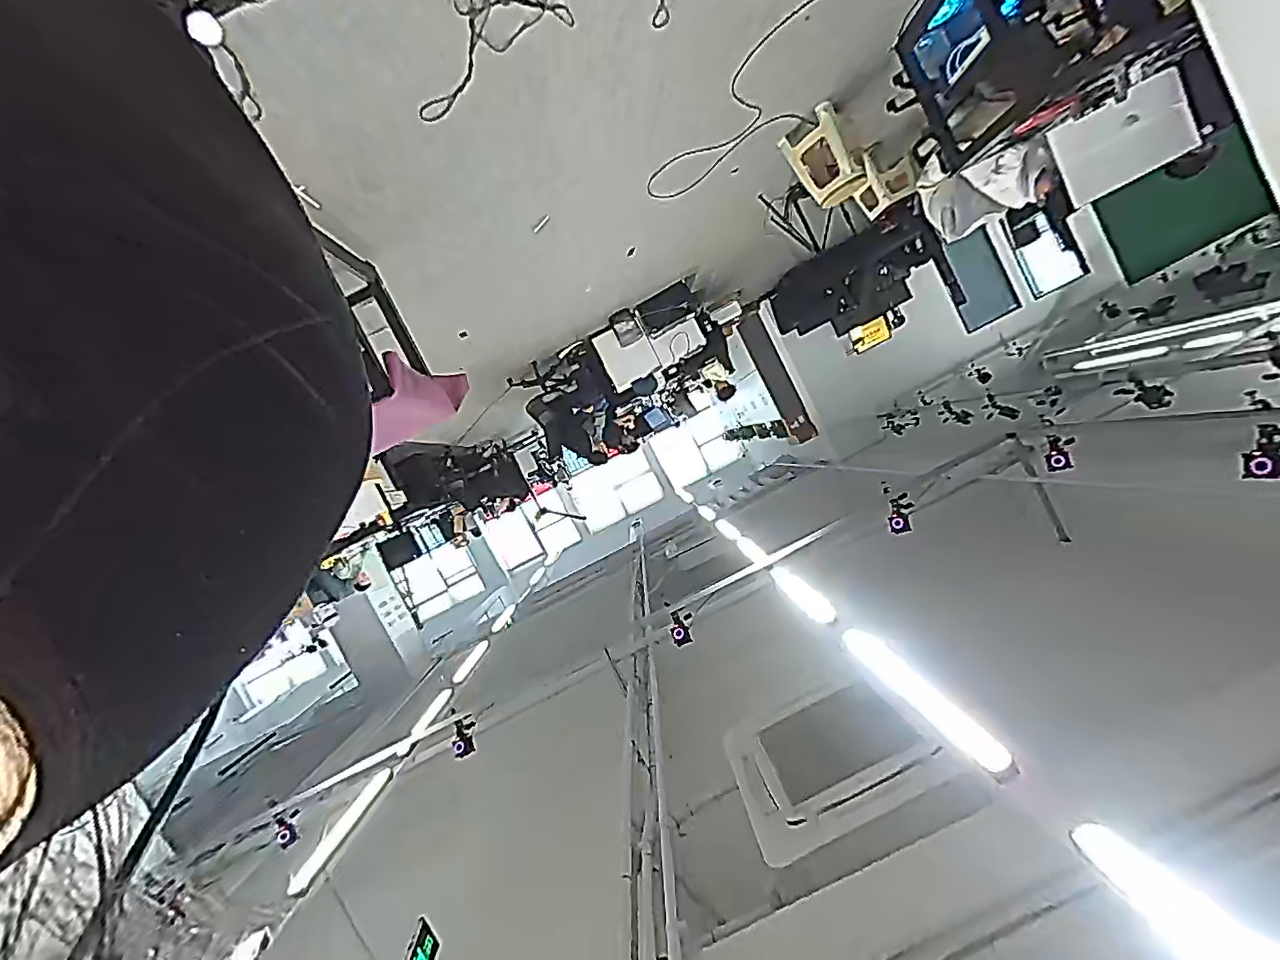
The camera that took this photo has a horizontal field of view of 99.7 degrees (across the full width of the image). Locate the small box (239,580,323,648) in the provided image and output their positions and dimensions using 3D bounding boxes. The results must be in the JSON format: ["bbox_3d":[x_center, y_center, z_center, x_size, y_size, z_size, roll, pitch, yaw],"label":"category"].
[{"bbox_3d":[-1.355,0.497,2.041,0.168,0.176,0.179,-29,-177,-4],"label":"small box"}]

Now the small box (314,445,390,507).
[{"bbox_3d":[-1.088,-0.016,2.036,0.179,0.176,0.168,-28,-177,-3],"label":"small box"}]
